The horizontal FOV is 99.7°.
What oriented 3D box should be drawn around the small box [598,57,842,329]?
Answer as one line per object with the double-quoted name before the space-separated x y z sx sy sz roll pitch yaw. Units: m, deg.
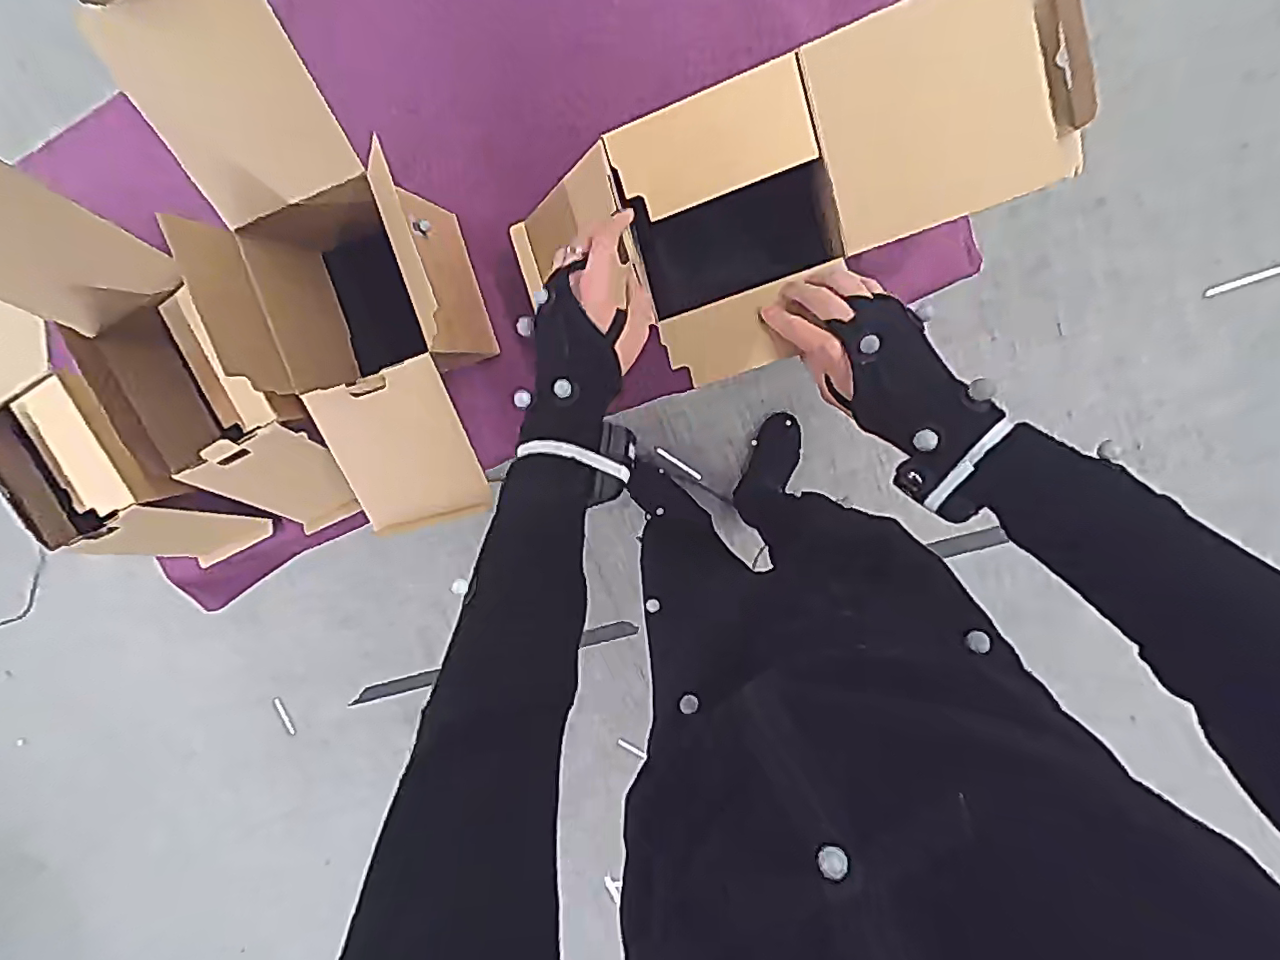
"small box" 0.079 -0.256 0.535 0.179 0.176 0.168 -15 99 13
